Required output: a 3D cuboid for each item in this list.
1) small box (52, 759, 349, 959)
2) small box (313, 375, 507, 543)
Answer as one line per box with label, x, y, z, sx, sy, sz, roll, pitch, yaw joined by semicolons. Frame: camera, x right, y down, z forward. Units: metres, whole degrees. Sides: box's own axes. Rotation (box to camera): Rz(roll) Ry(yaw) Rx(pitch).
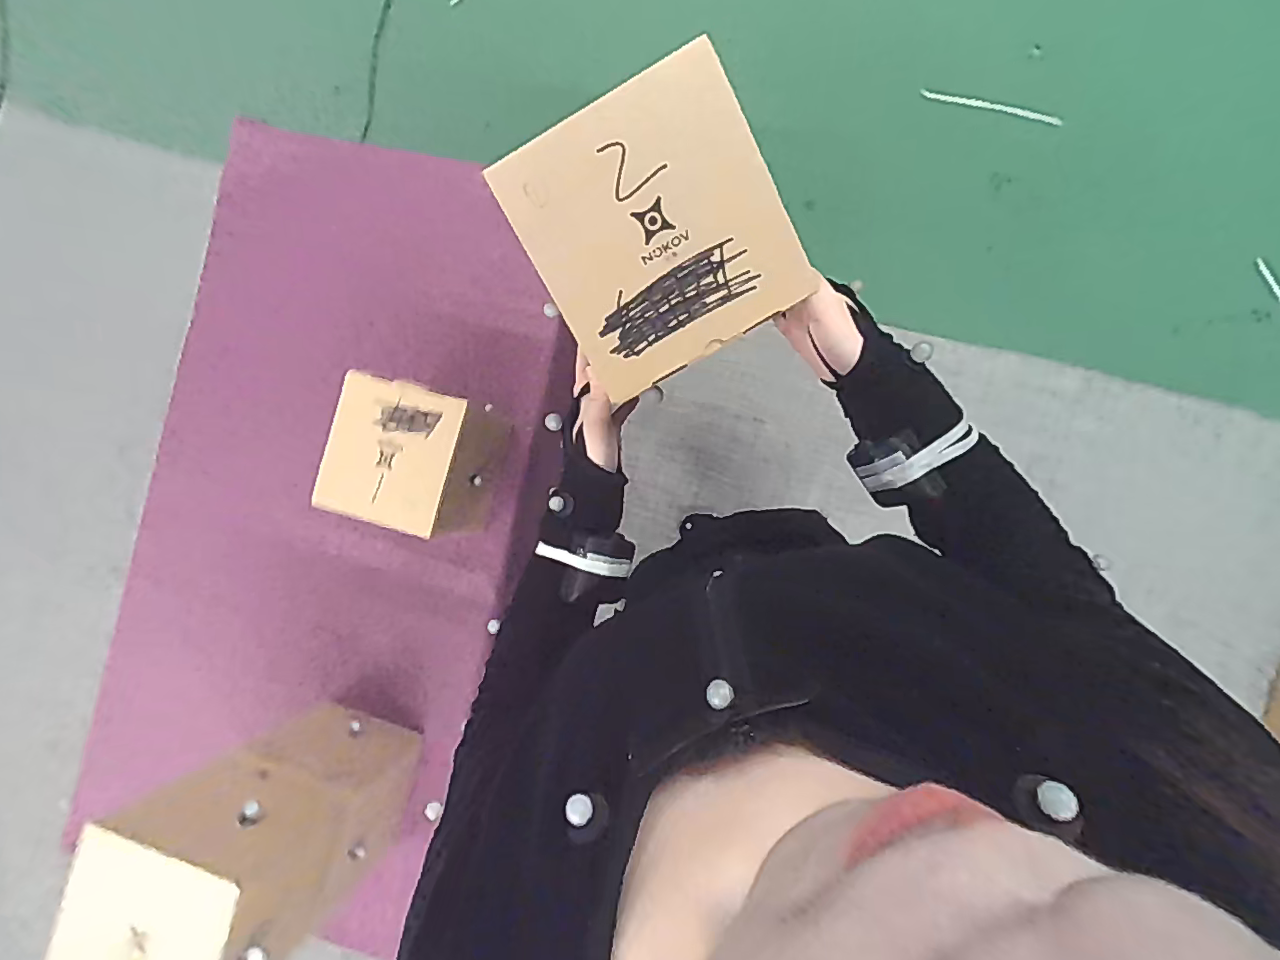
small box;-0.444;0.432;0.571;0.168;0.176;0.179;15;90;7
small box;-0.299;-0.024;0.743;0.168;0.176;0.179;15;90;7
